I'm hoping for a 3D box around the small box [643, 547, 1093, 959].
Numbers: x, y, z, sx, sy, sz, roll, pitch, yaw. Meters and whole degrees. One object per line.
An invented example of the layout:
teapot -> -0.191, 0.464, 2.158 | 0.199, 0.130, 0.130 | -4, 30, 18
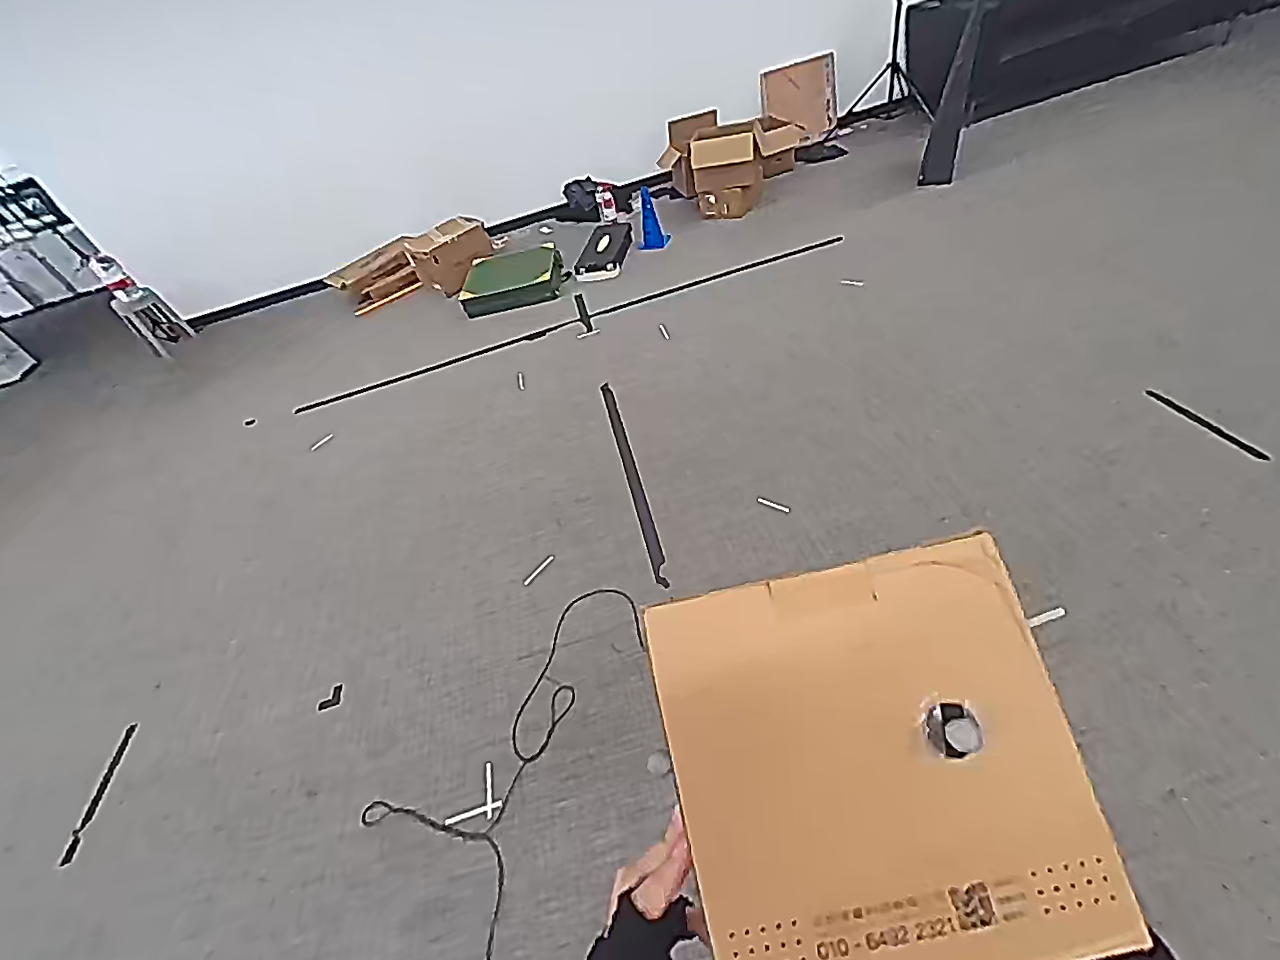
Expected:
small box -> 0.107, 0.148, 0.322 | 0.168, 0.179, 0.176 | -13, 75, 3
